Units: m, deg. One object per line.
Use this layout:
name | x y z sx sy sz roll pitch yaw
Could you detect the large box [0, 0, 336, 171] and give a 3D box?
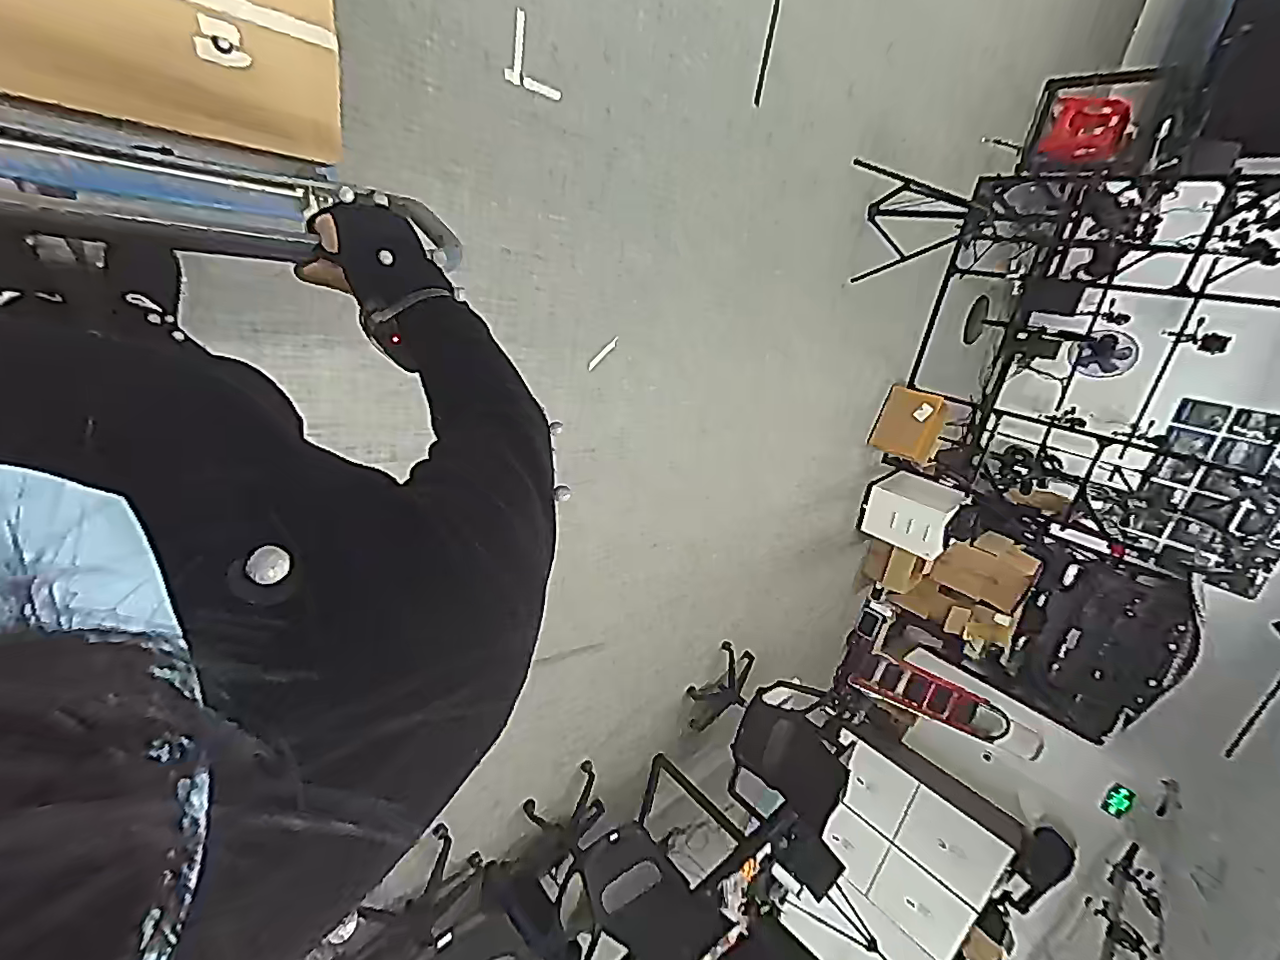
large box | -0.685 -0.632 0.725 0.408 0.320 0.320 -12 121 -43
